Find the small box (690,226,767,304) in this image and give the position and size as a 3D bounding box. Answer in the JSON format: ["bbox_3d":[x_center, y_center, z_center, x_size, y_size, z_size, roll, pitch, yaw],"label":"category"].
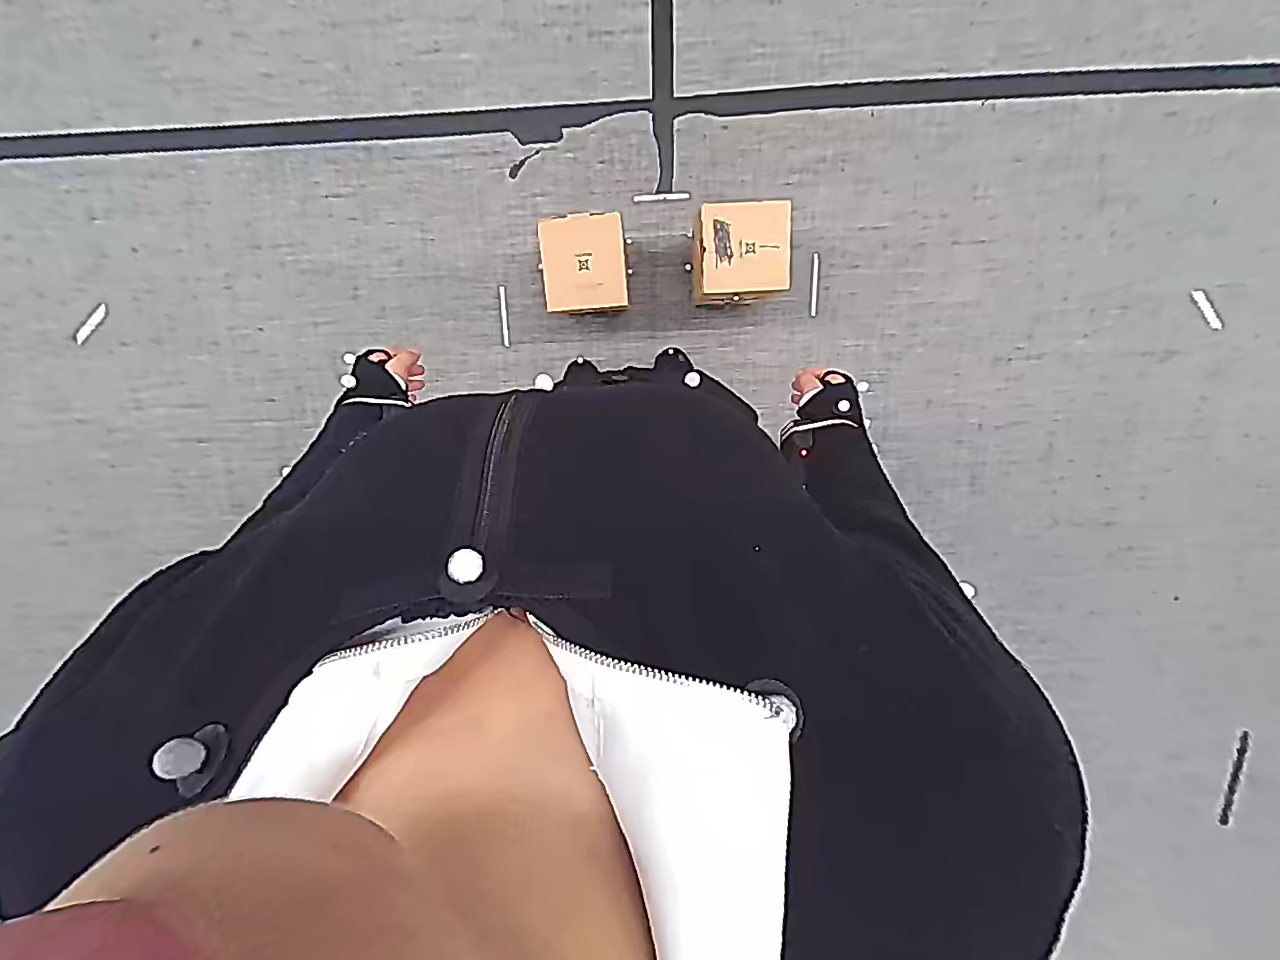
[{"bbox_3d":[0.211,-0.513,1.293,0.168,0.176,0.179,-1,106,-1],"label":"small box"}]

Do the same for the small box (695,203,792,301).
[{"bbox_3d":[0.207,-0.470,1.134,0.179,0.176,0.168,-2,105,0],"label":"small box"}]

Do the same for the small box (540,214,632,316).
[{"bbox_3d":[-0.107,-0.445,1.141,0.168,0.176,0.179,-4,106,3],"label":"small box"}]
